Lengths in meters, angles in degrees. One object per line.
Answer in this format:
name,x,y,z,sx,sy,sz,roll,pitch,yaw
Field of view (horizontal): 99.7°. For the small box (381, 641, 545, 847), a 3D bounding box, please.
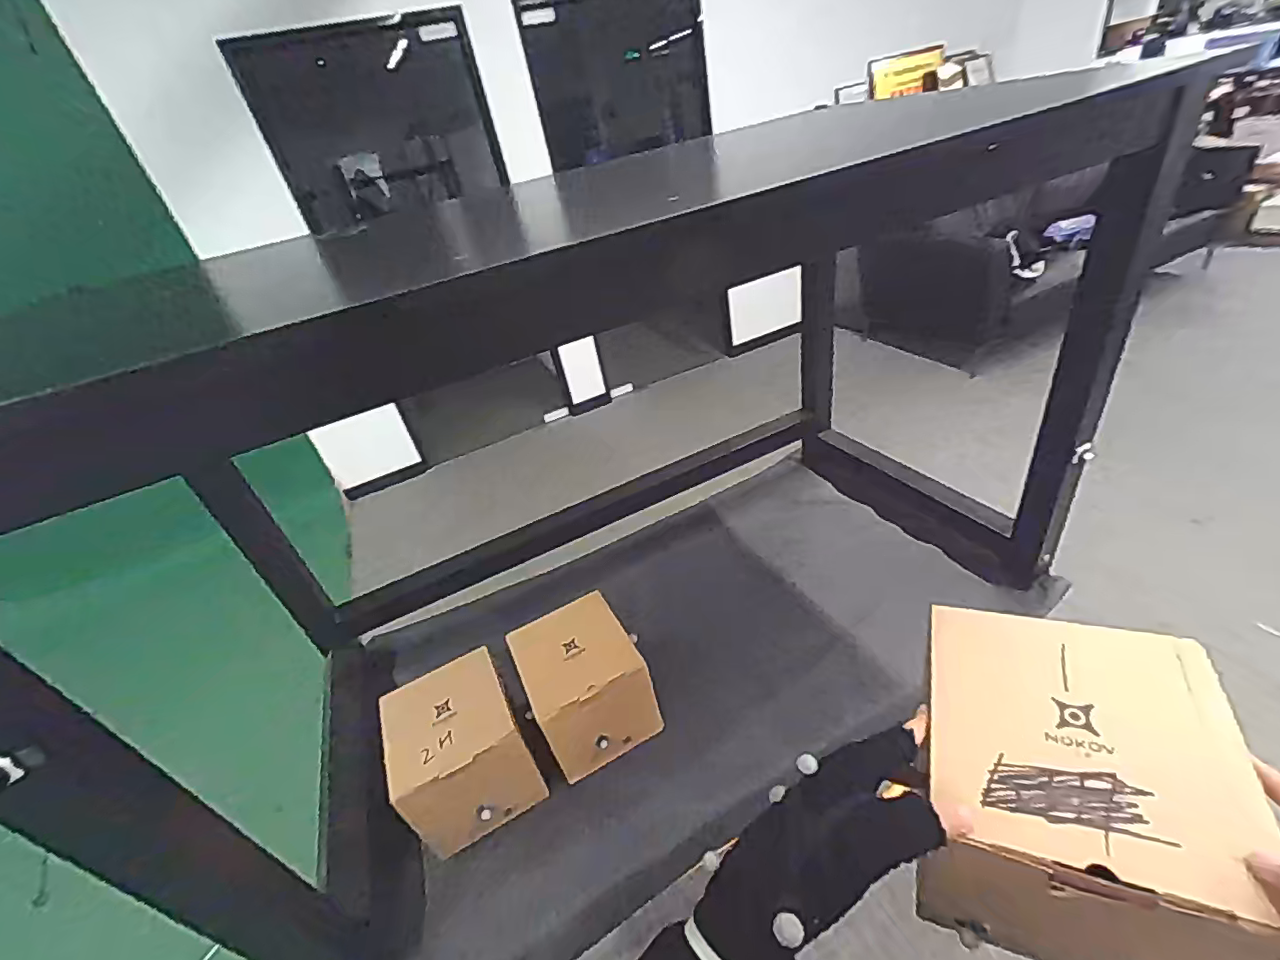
small box,-0.258,0.381,0.791,0.168,0.176,0.179,-24,35,-16
